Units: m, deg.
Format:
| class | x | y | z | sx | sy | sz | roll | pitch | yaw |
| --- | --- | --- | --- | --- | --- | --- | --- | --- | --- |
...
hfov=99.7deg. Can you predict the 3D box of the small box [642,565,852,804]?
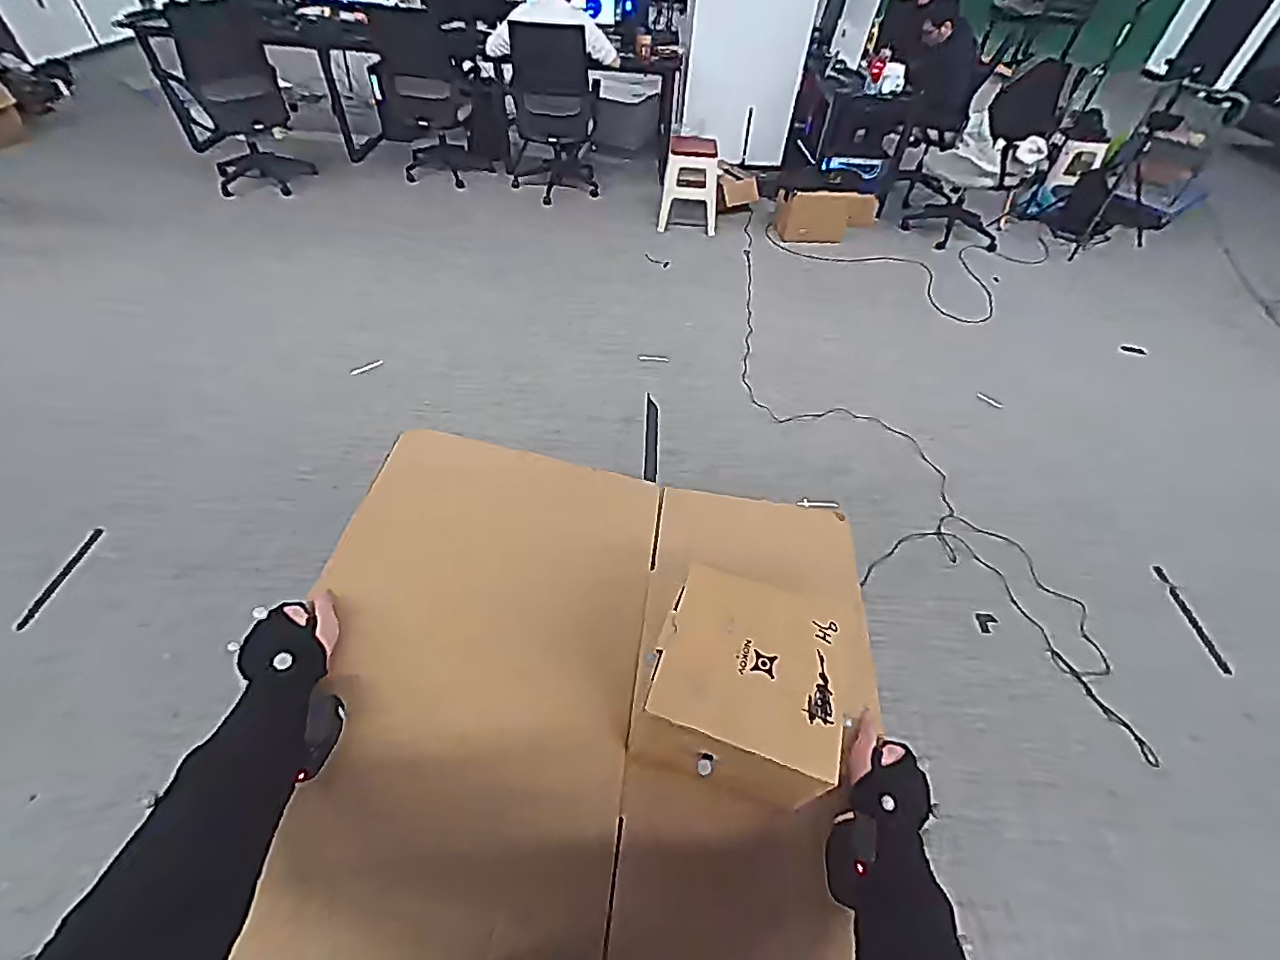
| class | x | y | z | sx | sy | sz | roll | pitch | yaw |
| --- | --- | --- | --- | --- | --- | --- | --- | --- | --- |
| small box | 0.108 | 0.224 | 0.585 | 0.179 | 0.176 | 0.168 | 17 | 51 | 10 |
